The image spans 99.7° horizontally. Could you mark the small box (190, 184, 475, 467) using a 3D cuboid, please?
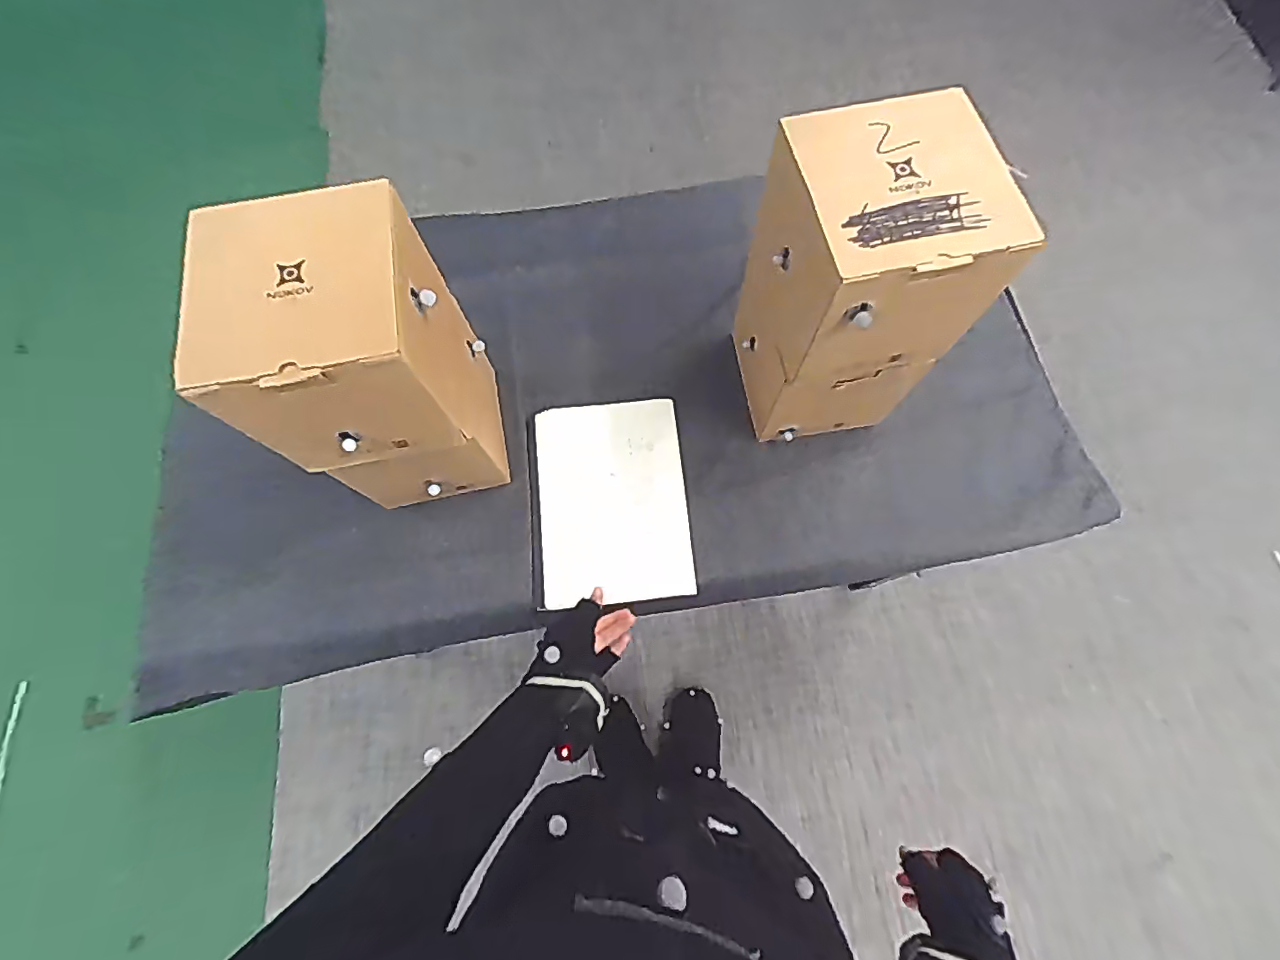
[{"bbox_3d":[-0.263,-0.132,0.502,0.168,0.176,0.179,-11,71,-3],"label":"small box"}]

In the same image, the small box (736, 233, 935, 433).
[{"bbox_3d":[0.226,-0.169,0.676,0.168,0.176,0.179,-9,70,-2],"label":"small box"}]

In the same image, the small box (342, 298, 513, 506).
[{"bbox_3d":[-0.263,-0.086,0.658,0.168,0.176,0.179,-12,71,-3],"label":"small box"}]
